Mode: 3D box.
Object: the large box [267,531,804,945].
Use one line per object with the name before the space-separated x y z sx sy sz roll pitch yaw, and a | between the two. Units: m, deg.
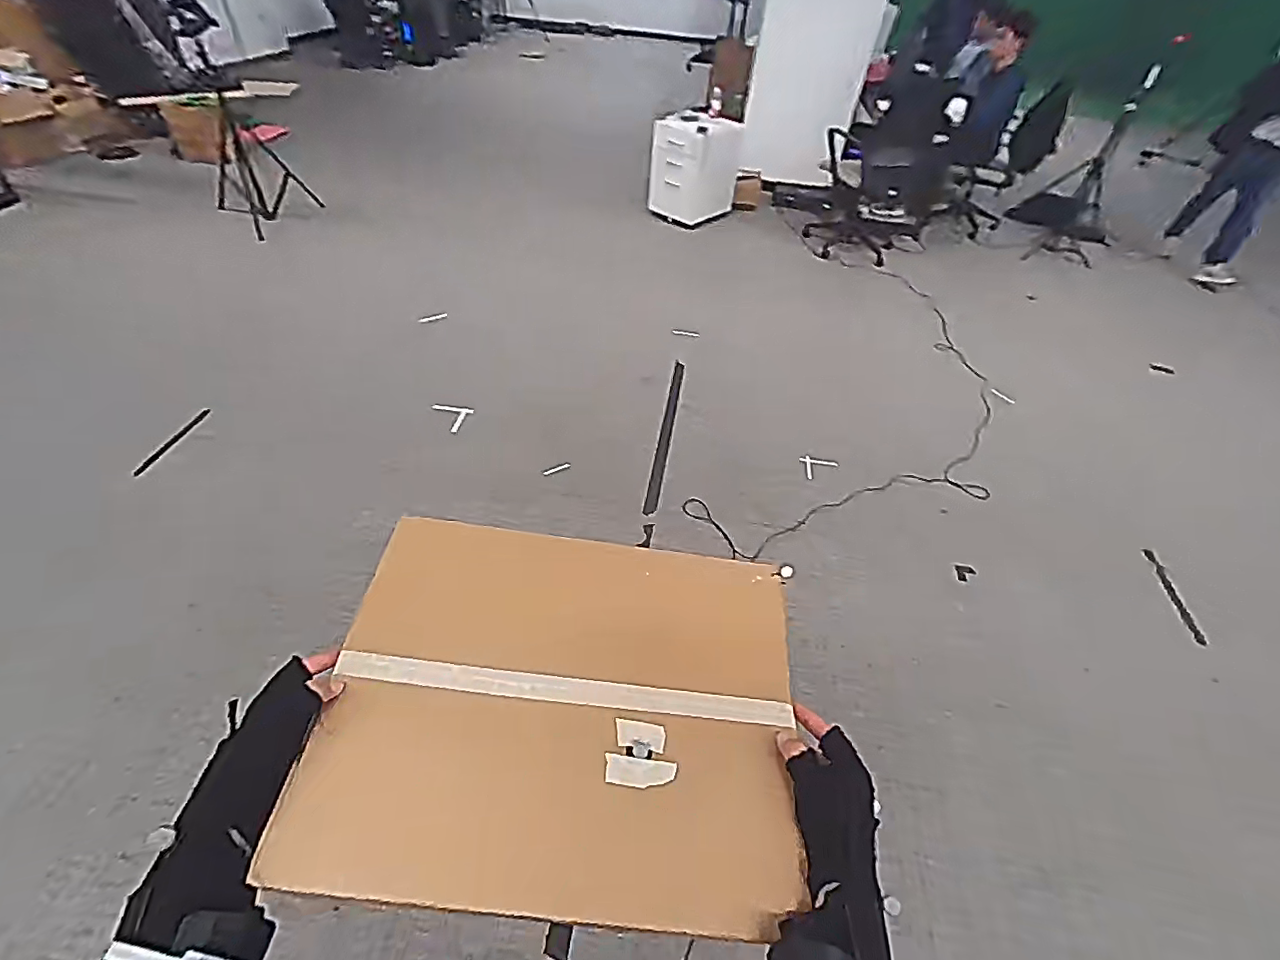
large box | -0.080 0.289 0.601 0.408 0.320 0.320 9 52 -2
